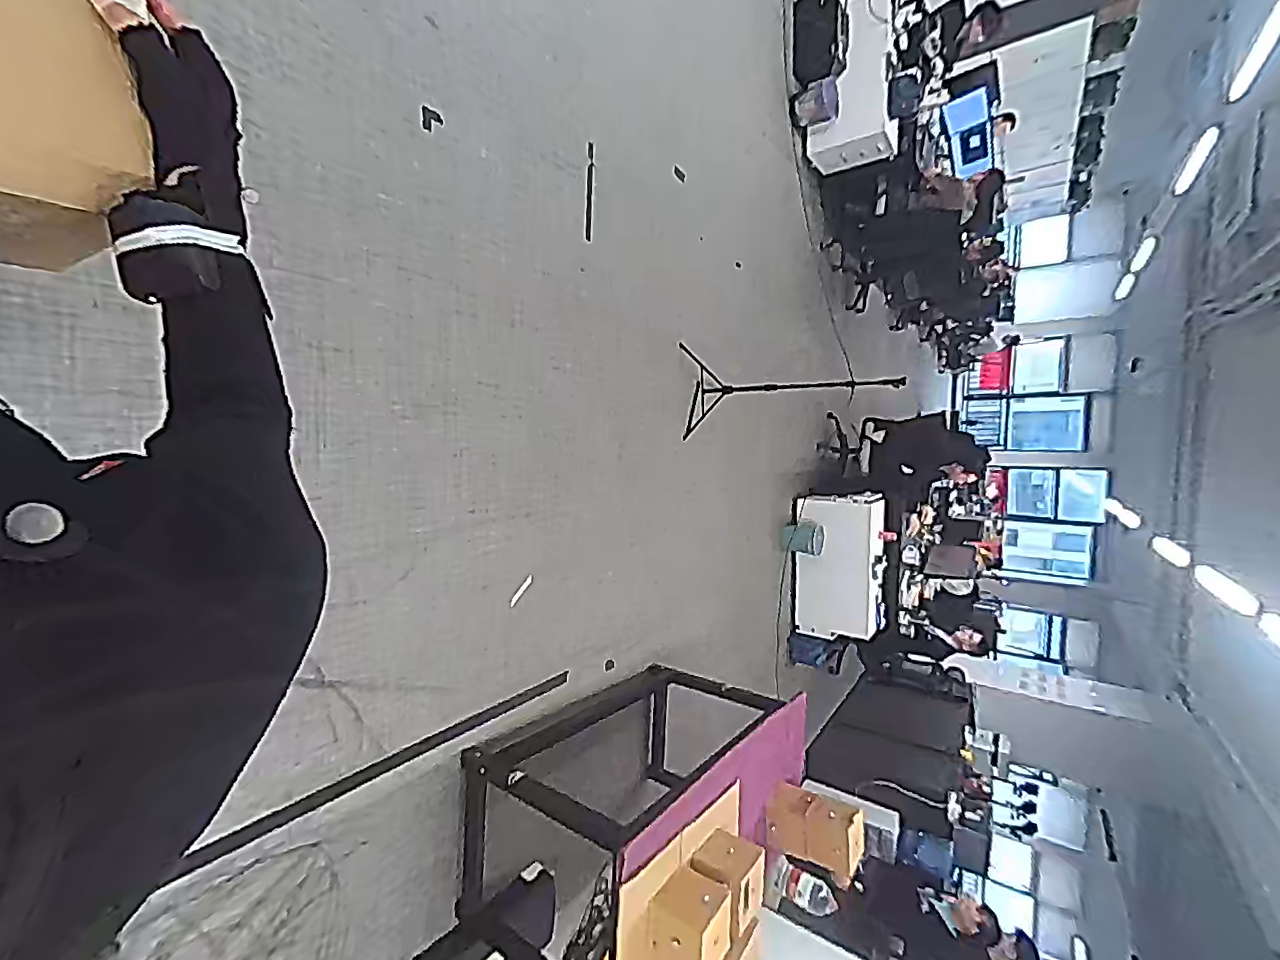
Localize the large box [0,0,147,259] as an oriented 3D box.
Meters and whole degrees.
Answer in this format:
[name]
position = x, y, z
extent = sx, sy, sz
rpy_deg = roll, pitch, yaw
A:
[large box]
position = -0.614, -0.354, 0.319
extent = 0.408, 0.320, 0.320
rpy_deg = -8, 103, -57
